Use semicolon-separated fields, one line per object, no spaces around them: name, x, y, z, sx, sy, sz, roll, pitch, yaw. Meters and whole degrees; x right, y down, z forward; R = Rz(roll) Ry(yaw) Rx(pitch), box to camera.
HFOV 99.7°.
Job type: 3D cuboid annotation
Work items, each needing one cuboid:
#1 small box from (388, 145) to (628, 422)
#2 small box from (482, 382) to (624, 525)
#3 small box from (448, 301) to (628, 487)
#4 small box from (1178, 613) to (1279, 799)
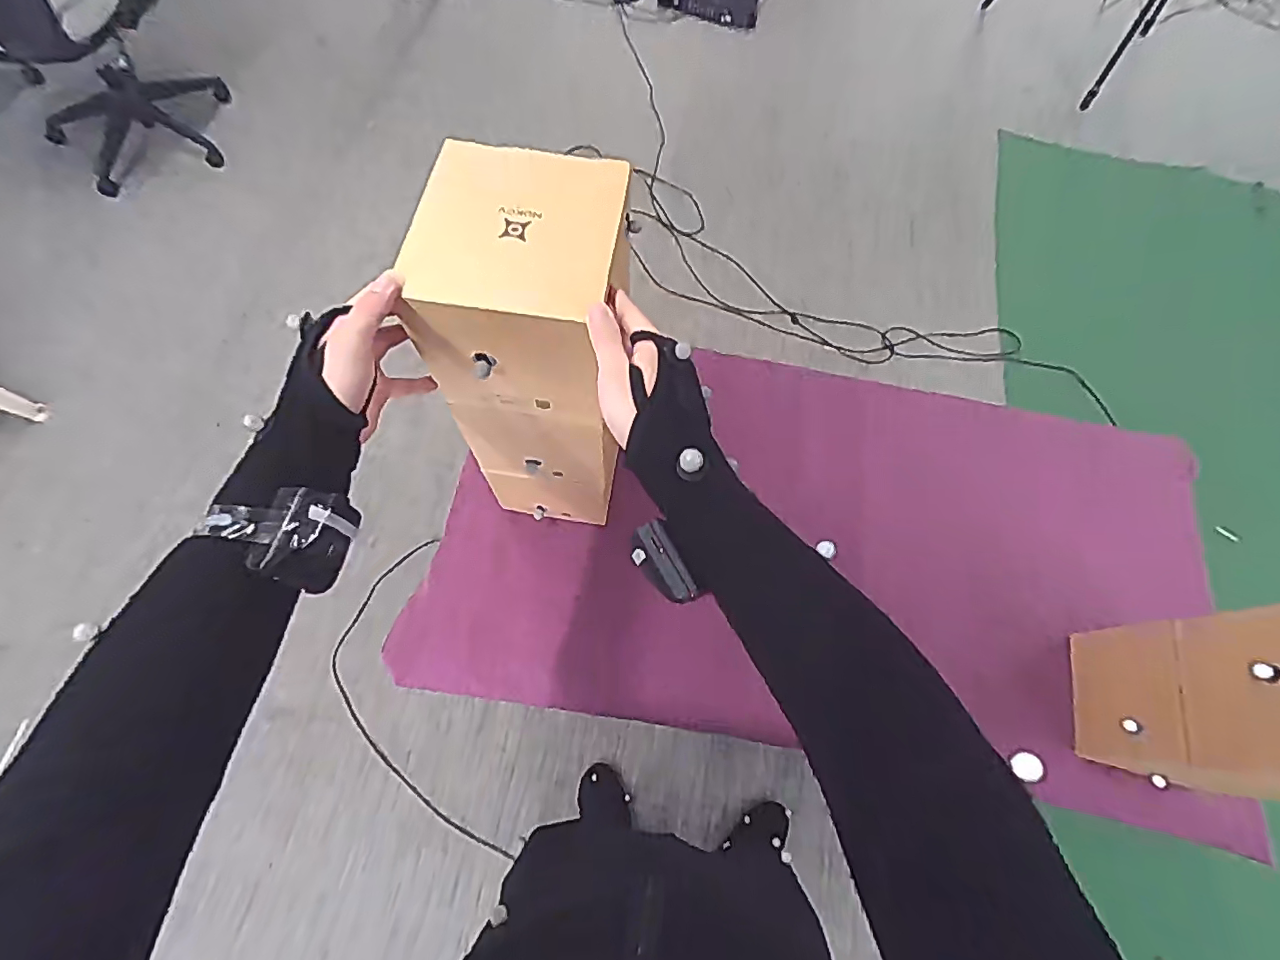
small box;-0.103;-0.172;0.512;0.168;0.176;0.179;7;67;1
small box;-0.120;-0.048;0.812;0.168;0.176;0.179;9;68;1
small box;-0.111;-0.111;0.661;0.168;0.176;0.179;8;68;1
small box;0.725;0.243;0.566;0.168;0.176;0.179;15;66;4
